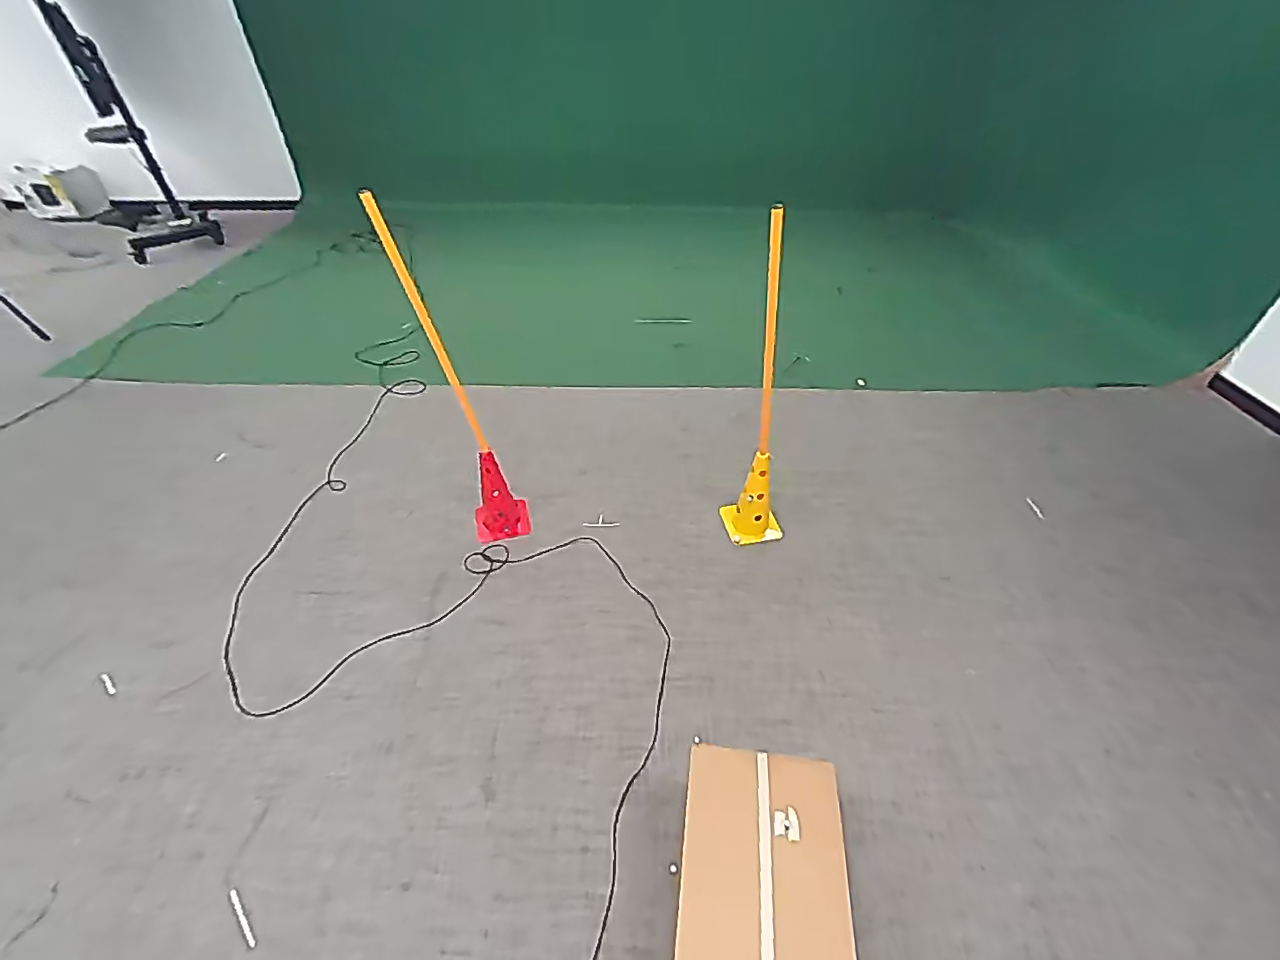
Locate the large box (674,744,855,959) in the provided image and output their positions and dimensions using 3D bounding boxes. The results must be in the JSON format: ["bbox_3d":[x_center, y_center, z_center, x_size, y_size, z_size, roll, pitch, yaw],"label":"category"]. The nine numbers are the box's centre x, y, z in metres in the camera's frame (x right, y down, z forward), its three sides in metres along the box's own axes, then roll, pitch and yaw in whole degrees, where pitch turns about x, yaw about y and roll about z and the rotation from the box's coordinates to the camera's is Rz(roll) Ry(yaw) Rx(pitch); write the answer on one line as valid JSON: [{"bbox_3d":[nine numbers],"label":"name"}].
[{"bbox_3d":[0.237,0.844,1.138,0.320,0.320,0.408,6,41,6],"label":"large box"}]
